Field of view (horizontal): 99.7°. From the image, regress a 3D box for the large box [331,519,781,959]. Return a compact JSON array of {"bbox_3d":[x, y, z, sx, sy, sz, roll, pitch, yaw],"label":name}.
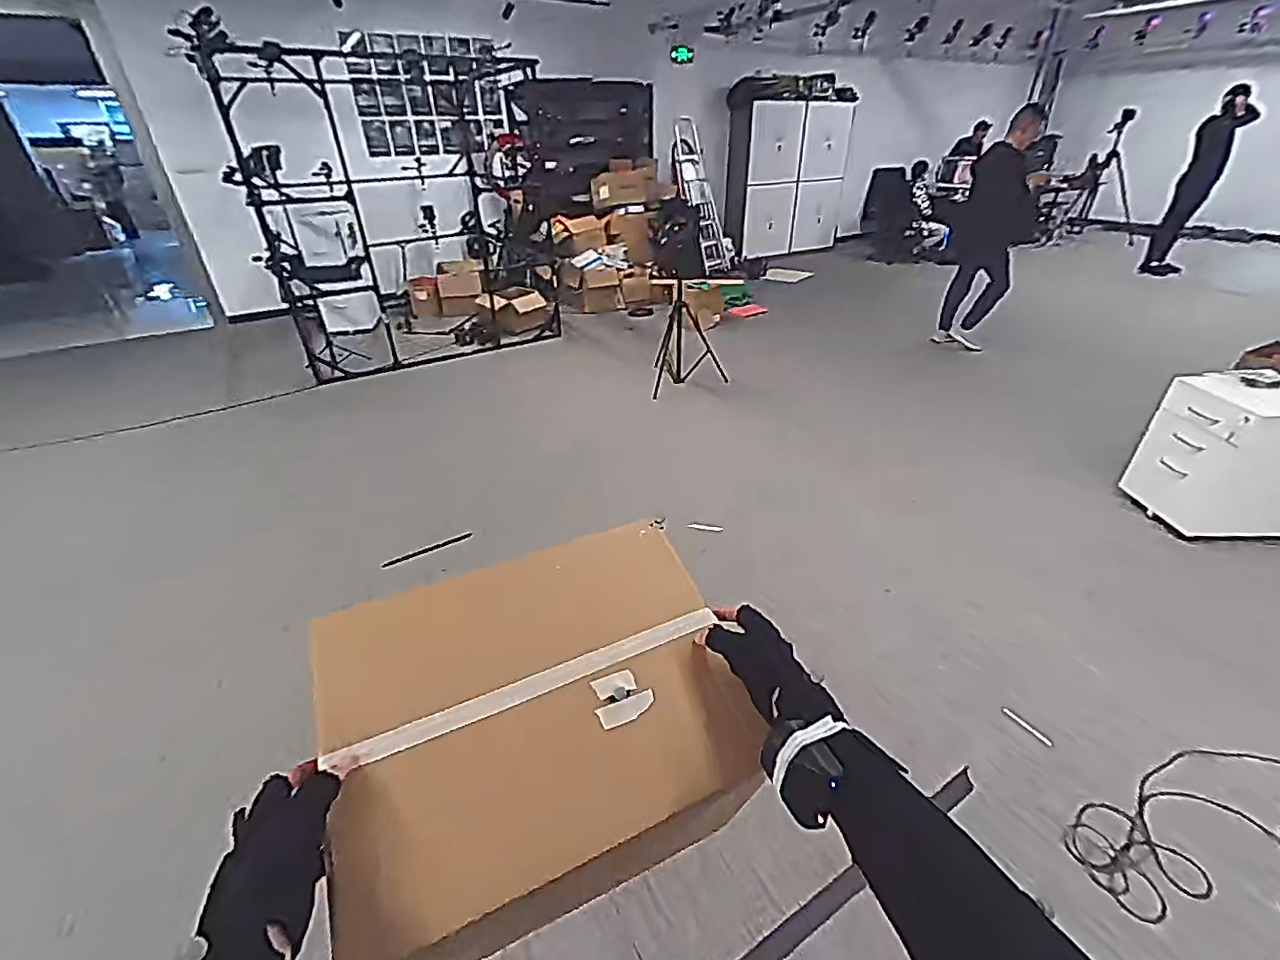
[{"bbox_3d":[-0.109,0.307,0.672,0.408,0.320,0.320,-15,51,-21],"label":"large box"}]
